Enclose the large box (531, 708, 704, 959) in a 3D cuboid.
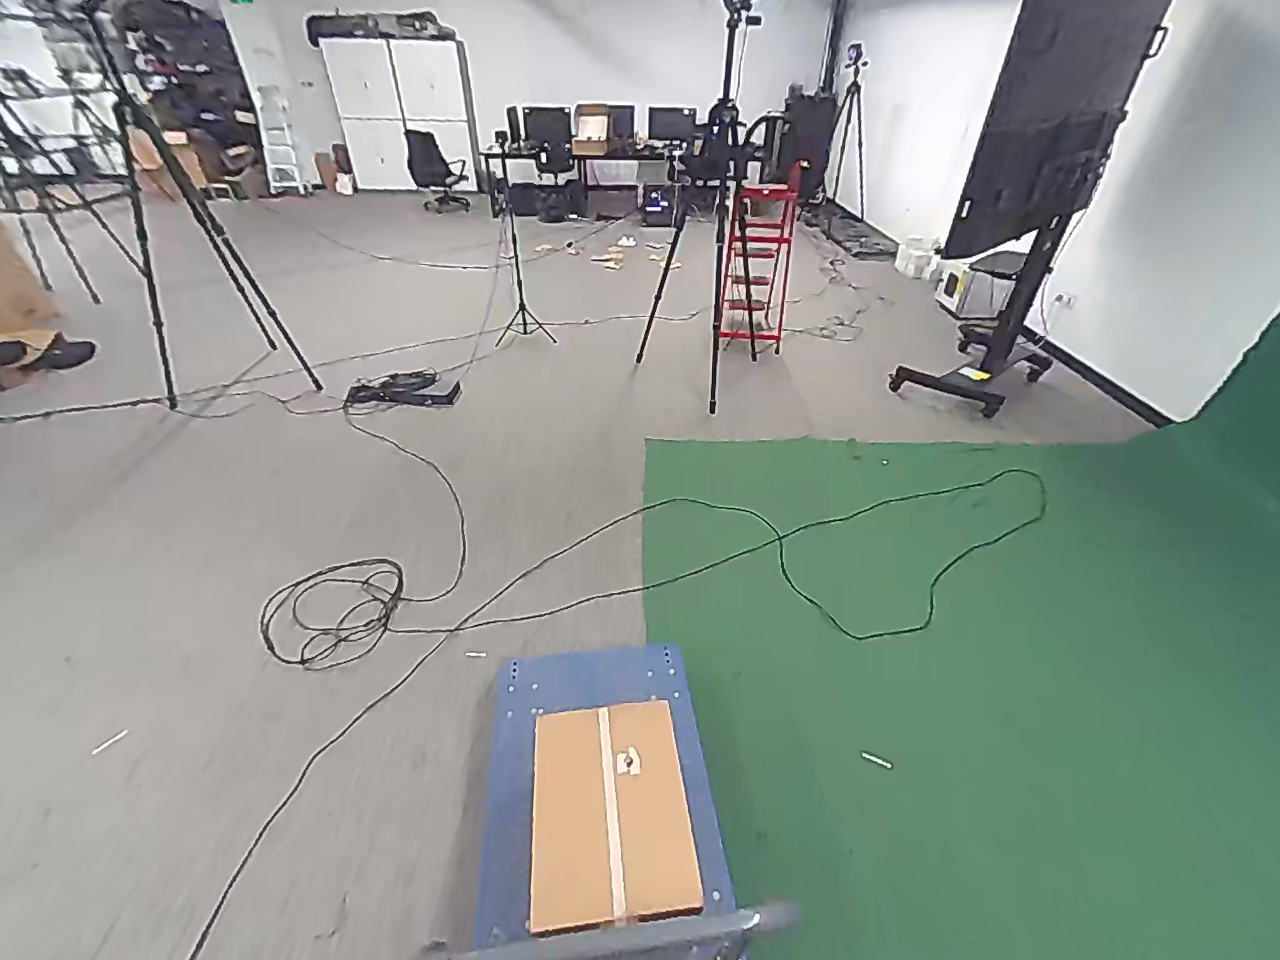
[{"bbox_3d":[-0.063,0.787,1.190,0.320,0.320,0.408,-3,36,-7],"label":"large box"}]
